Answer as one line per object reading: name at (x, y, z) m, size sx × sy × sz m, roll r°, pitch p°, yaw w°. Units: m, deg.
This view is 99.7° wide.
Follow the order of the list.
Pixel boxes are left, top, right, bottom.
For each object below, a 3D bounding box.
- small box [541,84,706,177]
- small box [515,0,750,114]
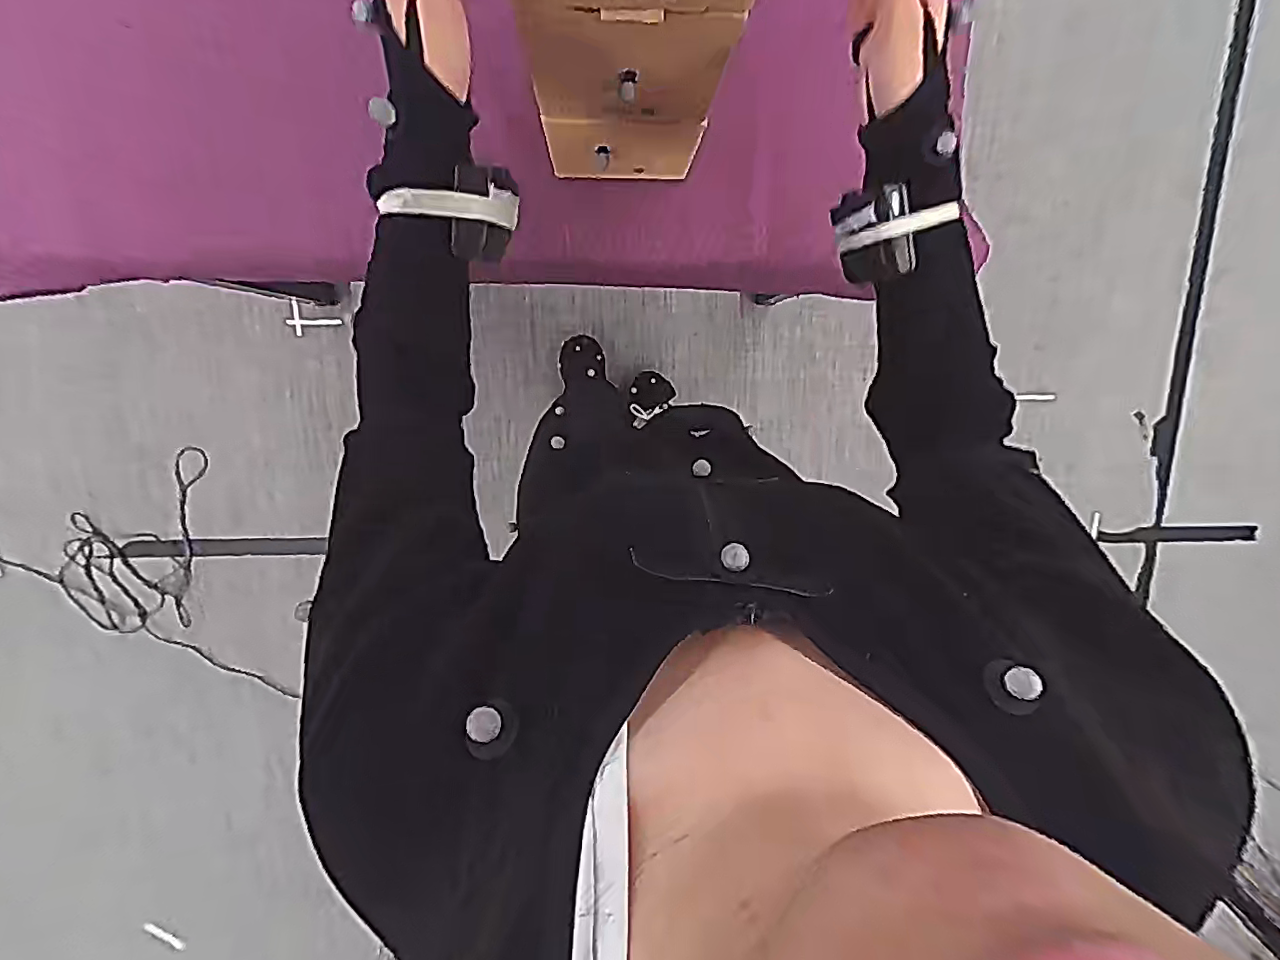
small box at (-0.018, -0.451, 0.594) m, size 0.168 × 0.176 × 0.179 m, roll -1°, pitch 101°, yaw -3°
small box at (-0.007, -0.423, 0.433) m, size 0.168 × 0.176 × 0.179 m, roll -1°, pitch 102°, yaw -3°
